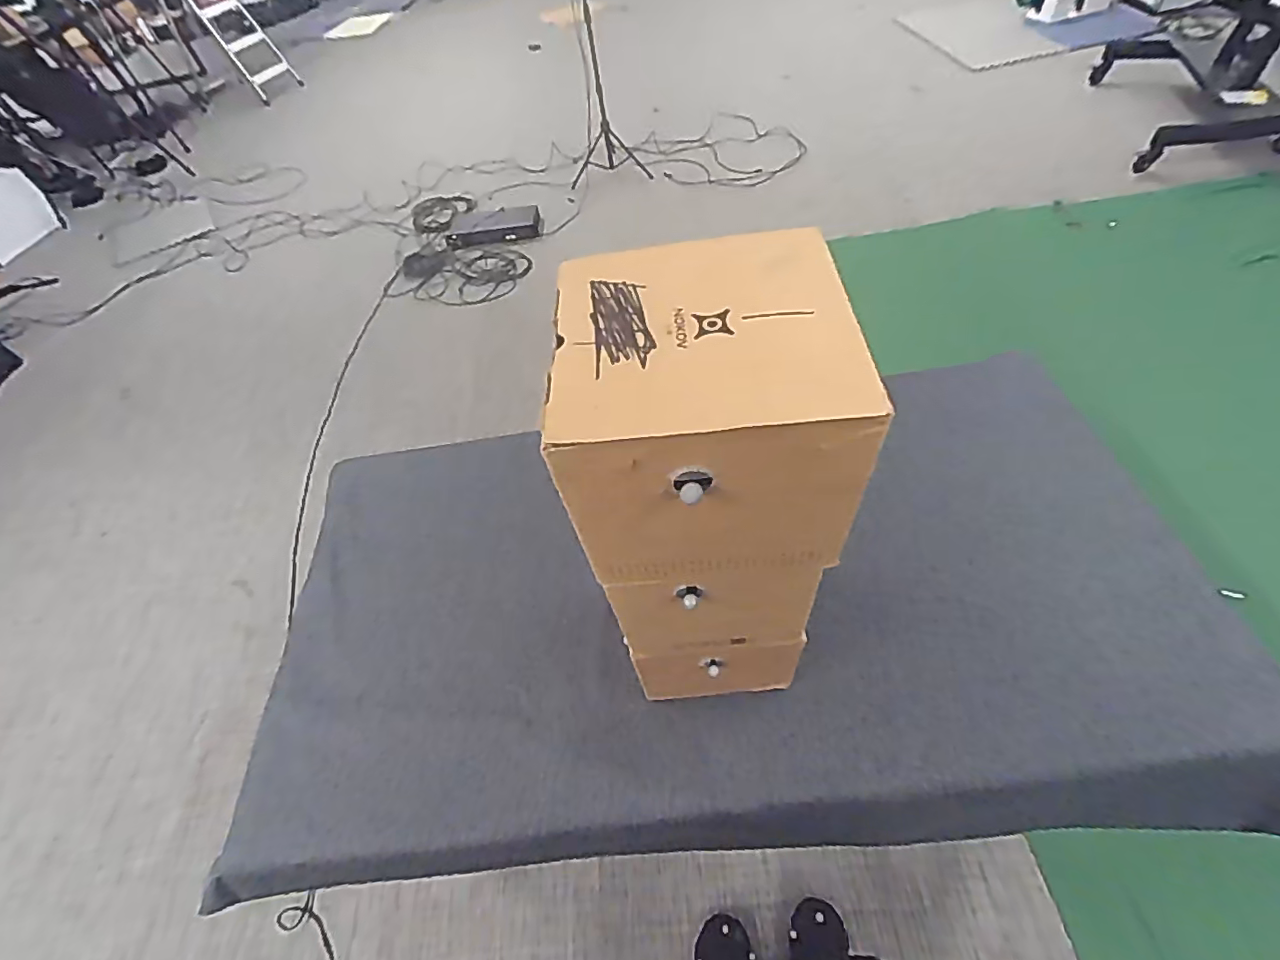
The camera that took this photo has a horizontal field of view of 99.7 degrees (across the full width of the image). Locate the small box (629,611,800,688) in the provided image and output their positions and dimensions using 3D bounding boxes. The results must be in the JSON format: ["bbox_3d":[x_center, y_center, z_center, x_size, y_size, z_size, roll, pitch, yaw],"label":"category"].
[{"bbox_3d":[0.082,0.142,0.654,0.179,0.176,0.168,-7,54,4],"label":"small box"}]

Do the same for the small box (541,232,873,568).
[{"bbox_3d":[0.042,-0.046,0.388,0.179,0.176,0.168,-5,55,5],"label":"small box"}]

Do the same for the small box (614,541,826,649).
[{"bbox_3d":[0.064,0.046,0.526,0.168,0.176,0.179,-8,54,3],"label":"small box"}]
